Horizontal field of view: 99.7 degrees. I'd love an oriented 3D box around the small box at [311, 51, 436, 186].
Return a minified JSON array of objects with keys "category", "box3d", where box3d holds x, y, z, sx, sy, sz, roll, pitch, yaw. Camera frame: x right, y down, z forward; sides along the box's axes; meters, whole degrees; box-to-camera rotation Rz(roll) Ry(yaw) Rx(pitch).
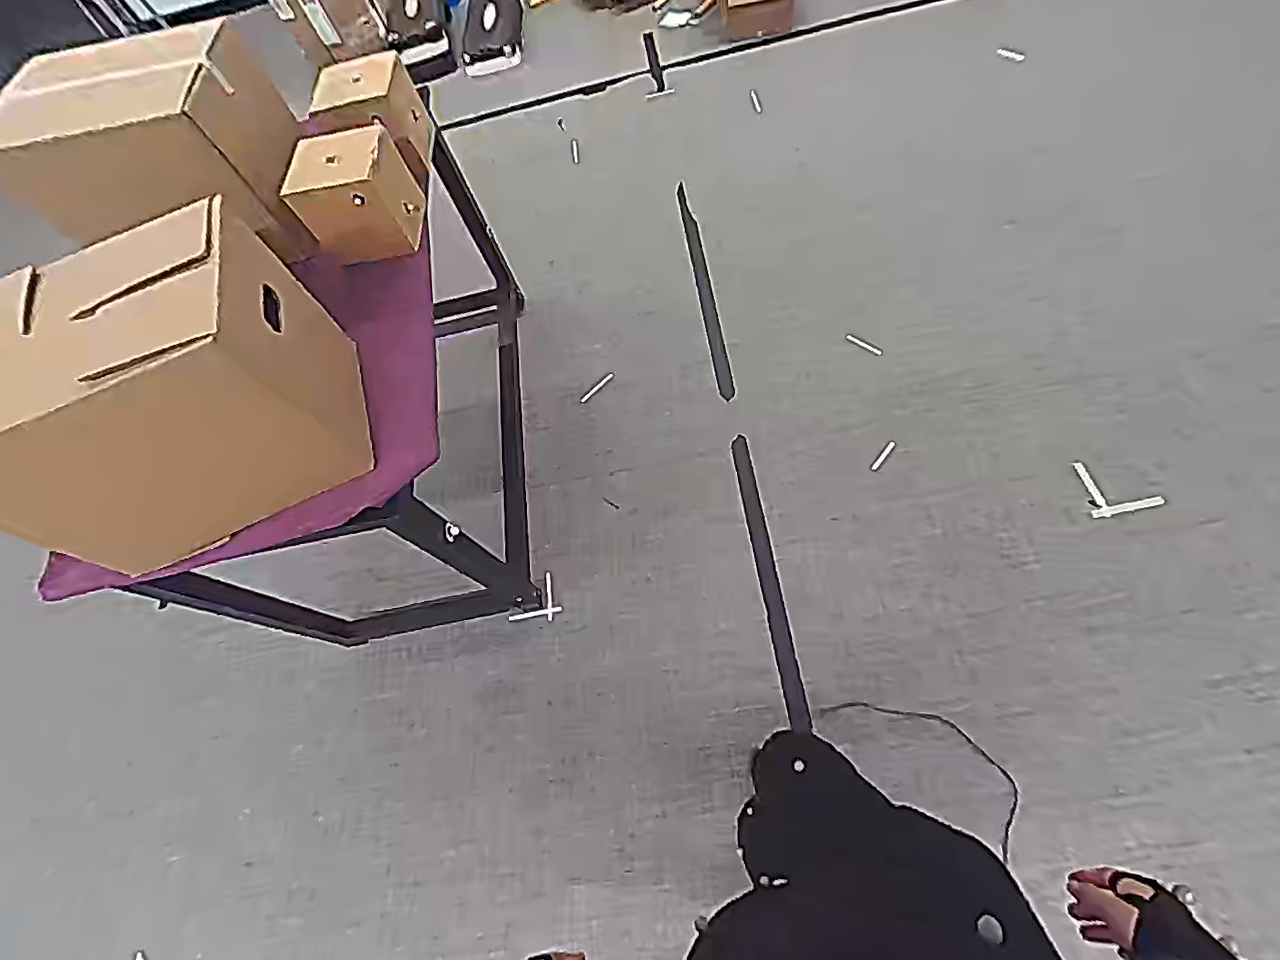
[{"category":"small box","box3d":[-0.571,-0.783,1.183,0.179,0.176,0.168,-9,63,8]}]
